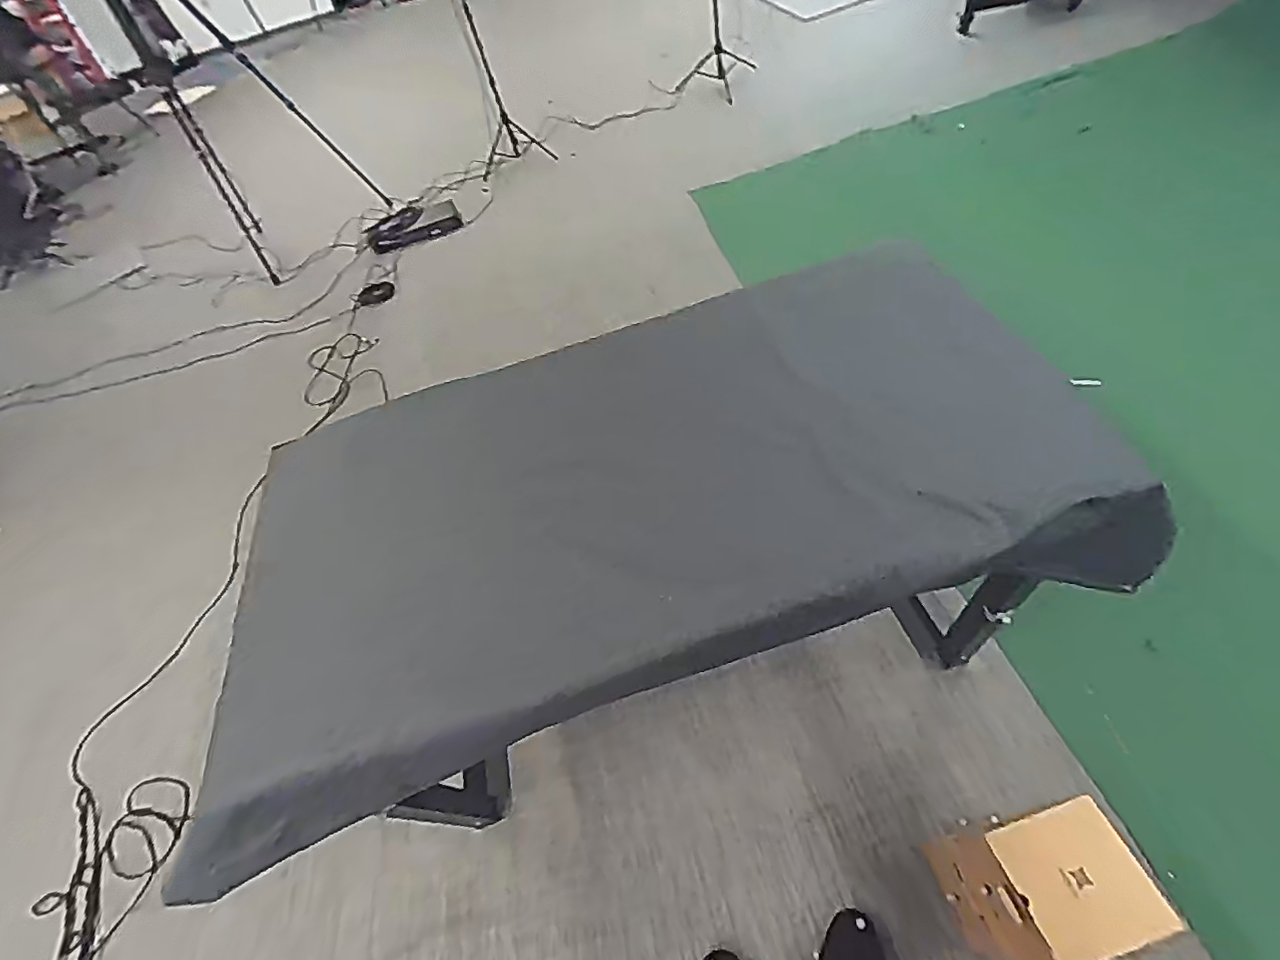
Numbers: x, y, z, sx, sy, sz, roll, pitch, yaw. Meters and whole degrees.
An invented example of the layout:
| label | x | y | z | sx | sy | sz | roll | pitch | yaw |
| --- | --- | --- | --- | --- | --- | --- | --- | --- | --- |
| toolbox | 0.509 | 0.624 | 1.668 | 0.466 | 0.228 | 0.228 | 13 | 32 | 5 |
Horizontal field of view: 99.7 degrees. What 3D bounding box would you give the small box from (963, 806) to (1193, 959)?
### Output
| label | x | y | z | sx | sy | sz | roll | pitch | yaw |
| --- | --- | --- | --- | --- | --- | --- | --- | --- | --- |
| small box | 0.628 | 0.611 | 0.806 | 0.179 | 0.176 | 0.168 | -21 | 52 | -2 |
